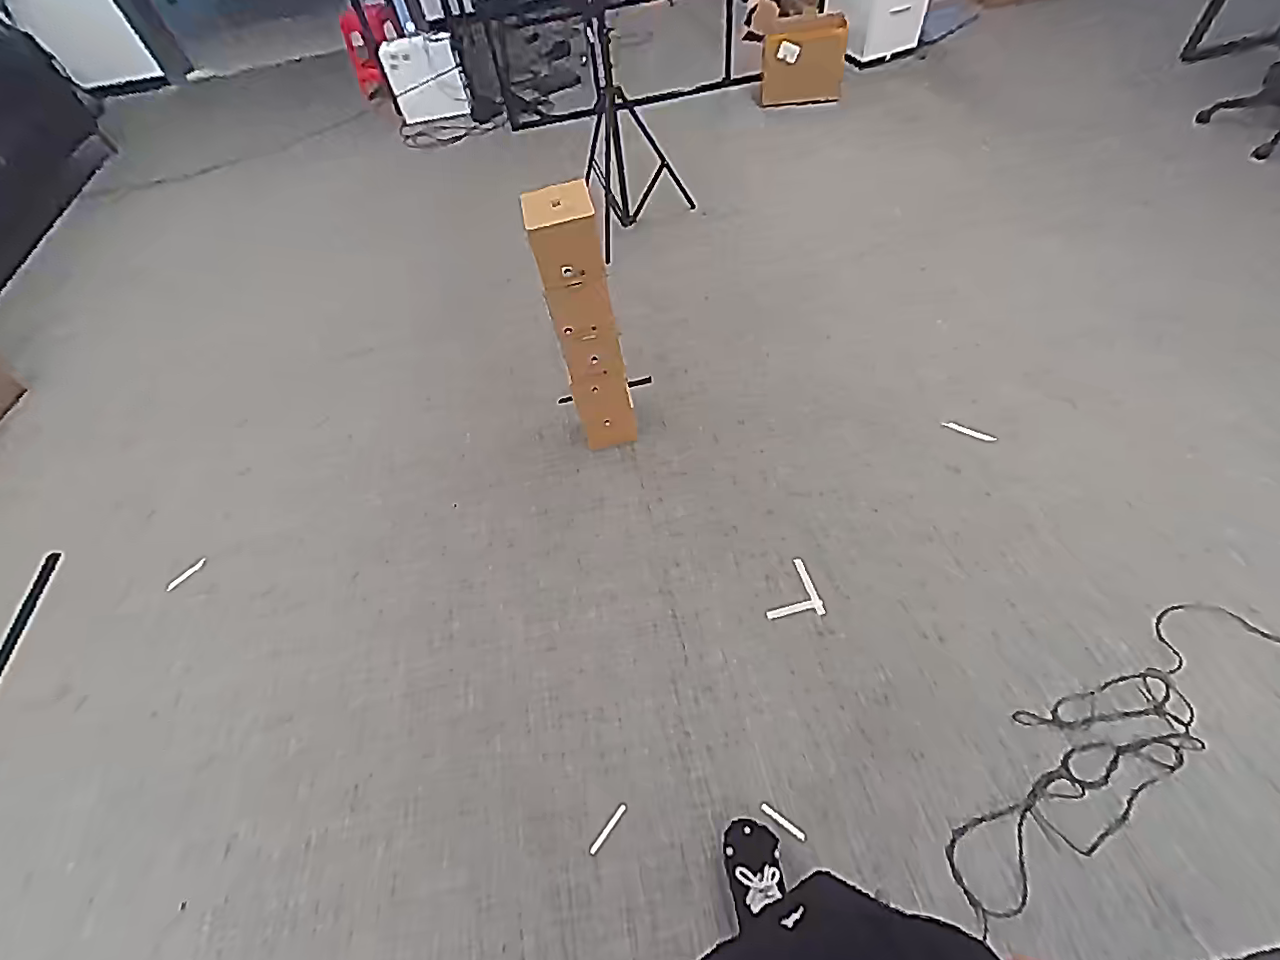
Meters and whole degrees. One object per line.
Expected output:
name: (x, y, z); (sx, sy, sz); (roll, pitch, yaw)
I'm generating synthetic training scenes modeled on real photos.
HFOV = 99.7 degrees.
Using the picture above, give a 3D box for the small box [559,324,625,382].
small box: (-0.144, -0.411, 1.608); (0.168, 0.176, 0.179); (-11, 55, 0)

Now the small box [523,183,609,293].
small box: (-0.182, -0.598, 1.343); (0.168, 0.176, 0.179); (-14, 56, -1)

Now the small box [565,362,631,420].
small box: (-0.134, -0.314, 1.739); (0.179, 0.176, 0.168); (-11, 55, 1)

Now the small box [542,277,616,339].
small box: (-0.166, -0.506, 1.475); (0.168, 0.176, 0.179); (-12, 54, 0)

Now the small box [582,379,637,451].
small box: (-0.109, -0.224, 1.875); (0.179, 0.176, 0.168); (-13, 55, -1)
